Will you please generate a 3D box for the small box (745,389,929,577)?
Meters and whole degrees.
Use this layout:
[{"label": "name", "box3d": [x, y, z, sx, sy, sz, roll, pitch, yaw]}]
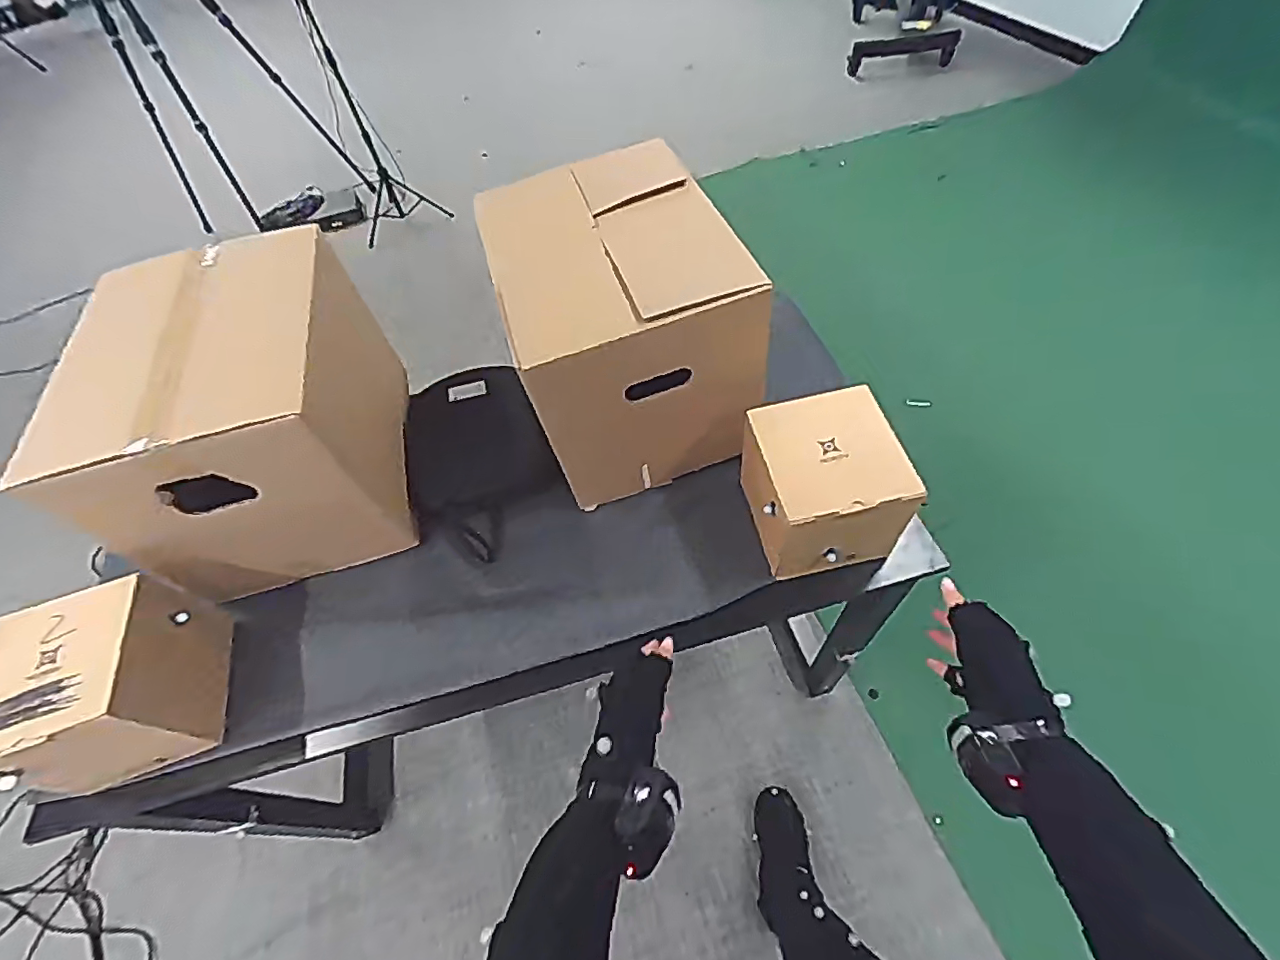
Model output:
[{"label": "small box", "box3d": [0.246, 0.008, 0.731, 0.168, 0.176, 0.179, -12, 58, 0]}]
